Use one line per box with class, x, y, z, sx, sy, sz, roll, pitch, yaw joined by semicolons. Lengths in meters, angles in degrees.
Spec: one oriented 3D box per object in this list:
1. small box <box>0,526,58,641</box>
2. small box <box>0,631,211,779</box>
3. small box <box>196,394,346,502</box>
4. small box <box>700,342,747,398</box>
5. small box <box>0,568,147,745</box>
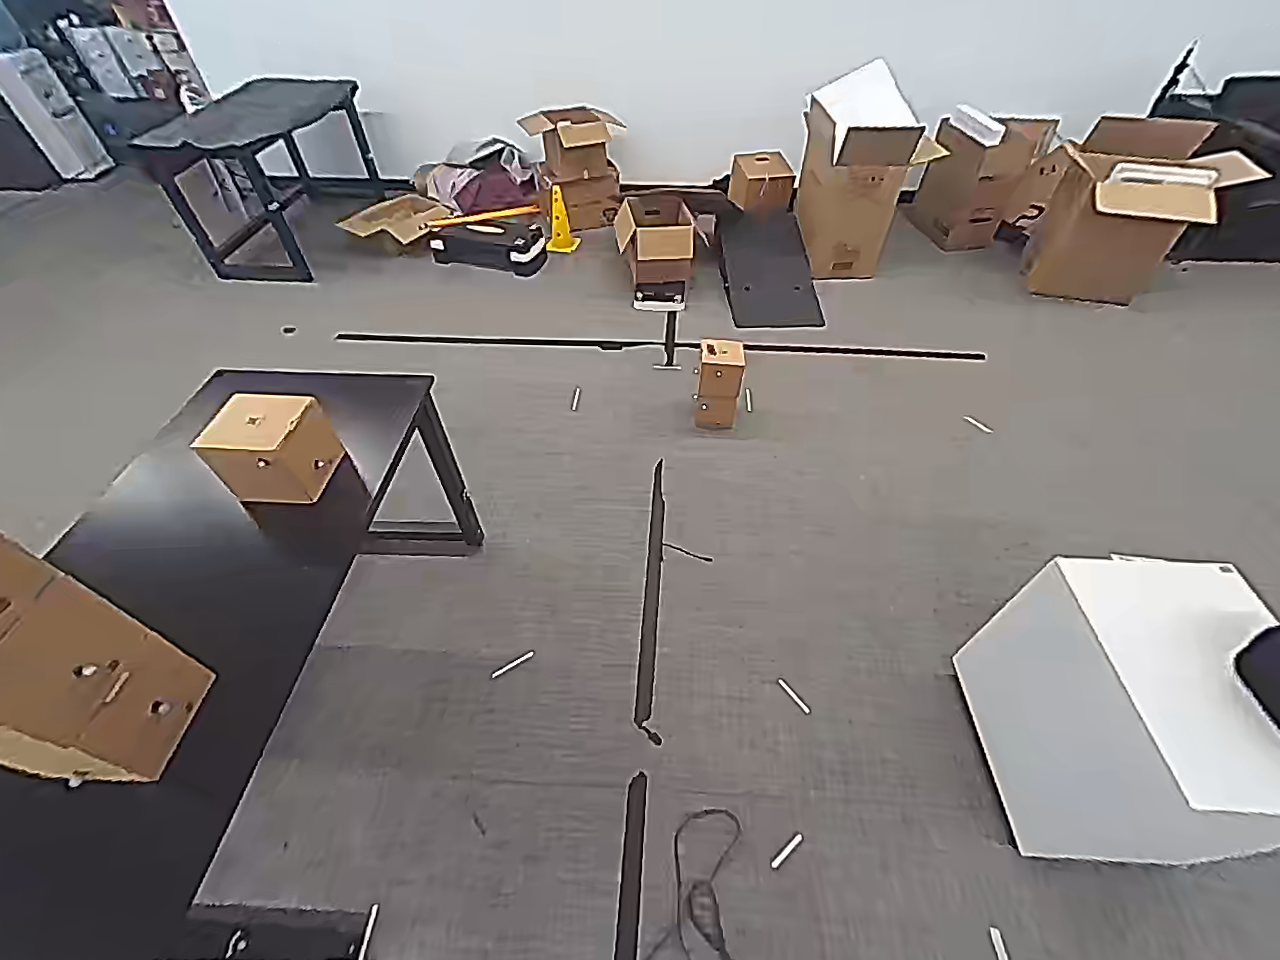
small box;-0.804;0.113;0.560;0.179;0.176;0.168;2;49;1
small box;-0.801;0.333;0.803;0.179;0.176;0.168;1;48;1
small box;-0.777;-0.067;1.161;0.179;0.176;0.168;2;48;2
small box;0.344;-0.459;2.258;0.179;0.176;0.168;4;48;2
small box;-0.804;0.222;0.681;0.179;0.176;0.168;2;49;2
